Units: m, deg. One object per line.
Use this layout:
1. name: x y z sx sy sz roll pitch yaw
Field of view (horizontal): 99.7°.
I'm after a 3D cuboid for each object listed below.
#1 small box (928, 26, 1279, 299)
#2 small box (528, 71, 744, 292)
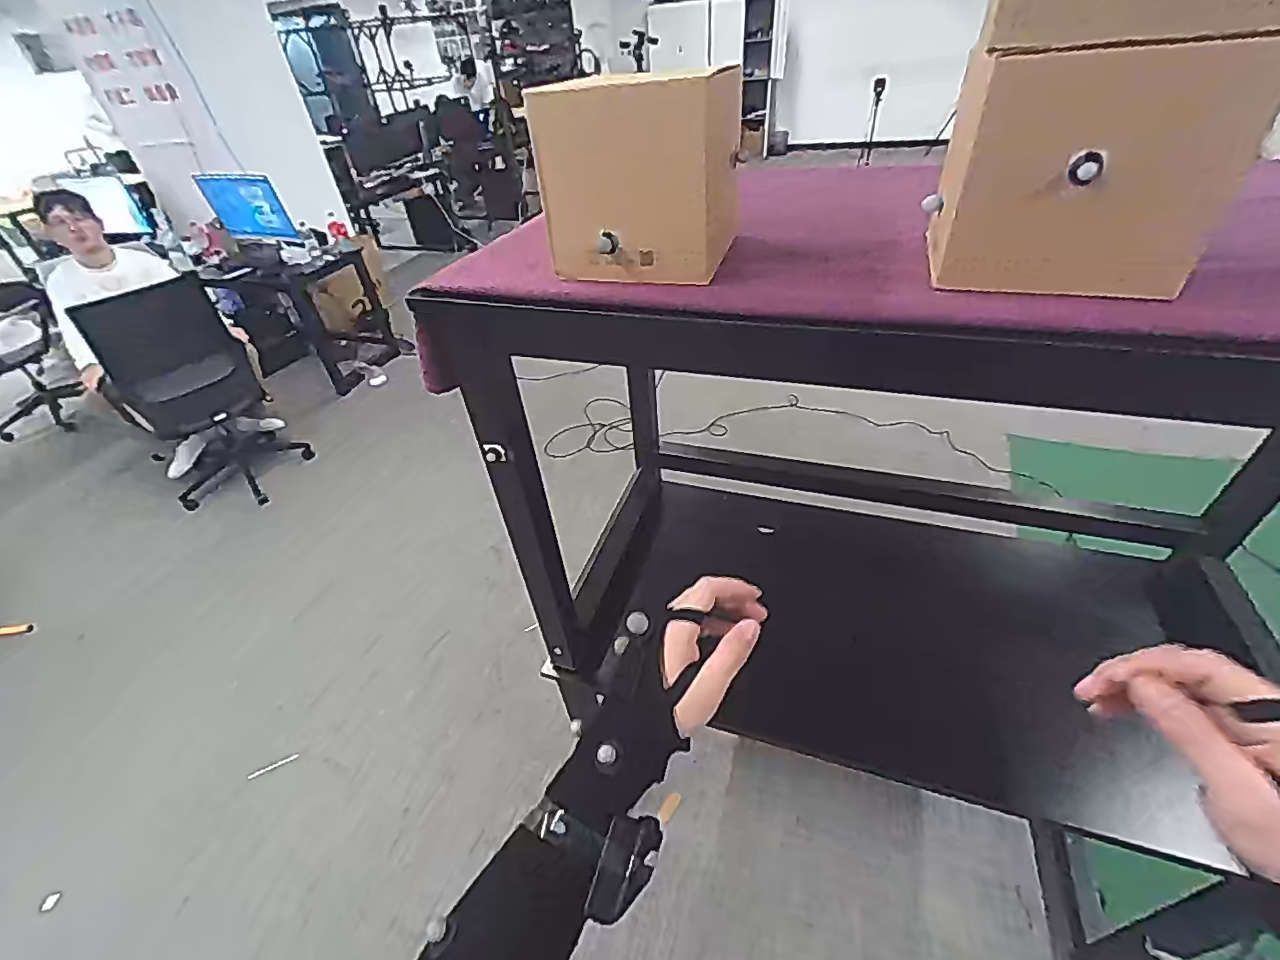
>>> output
1. small box: 0.360 -0.263 0.456 0.179 0.176 0.168 9 41 20
2. small box: 0.009 -0.310 0.561 0.168 0.176 0.179 8 41 17
